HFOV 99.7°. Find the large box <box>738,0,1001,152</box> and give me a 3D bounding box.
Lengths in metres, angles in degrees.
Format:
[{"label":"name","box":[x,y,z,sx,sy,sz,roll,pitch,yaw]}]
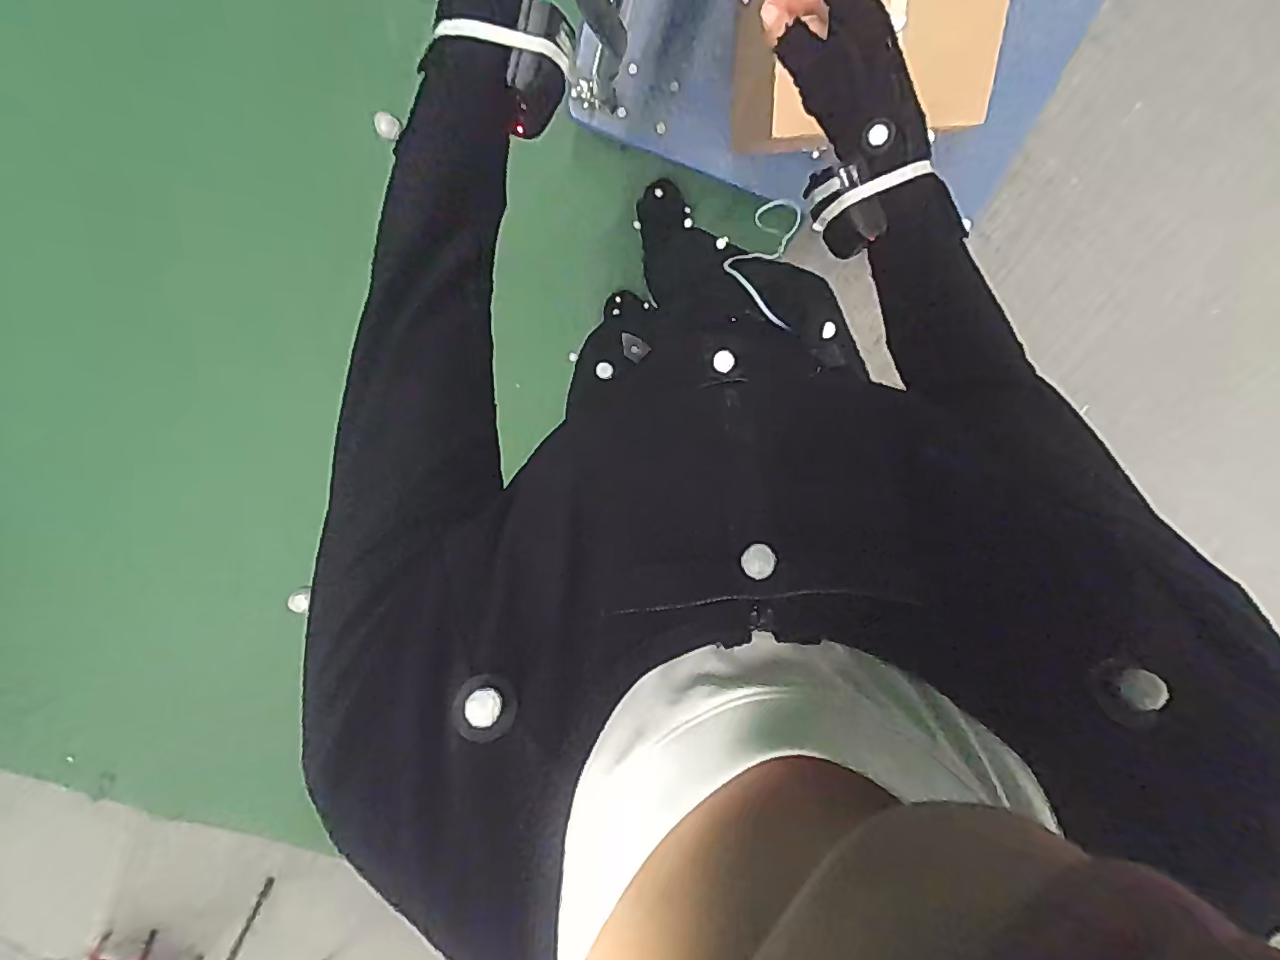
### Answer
[{"label":"large box","box":[0.329,-0.763,0.834,0.320,0.320,0.408,-4,117,0]}]
